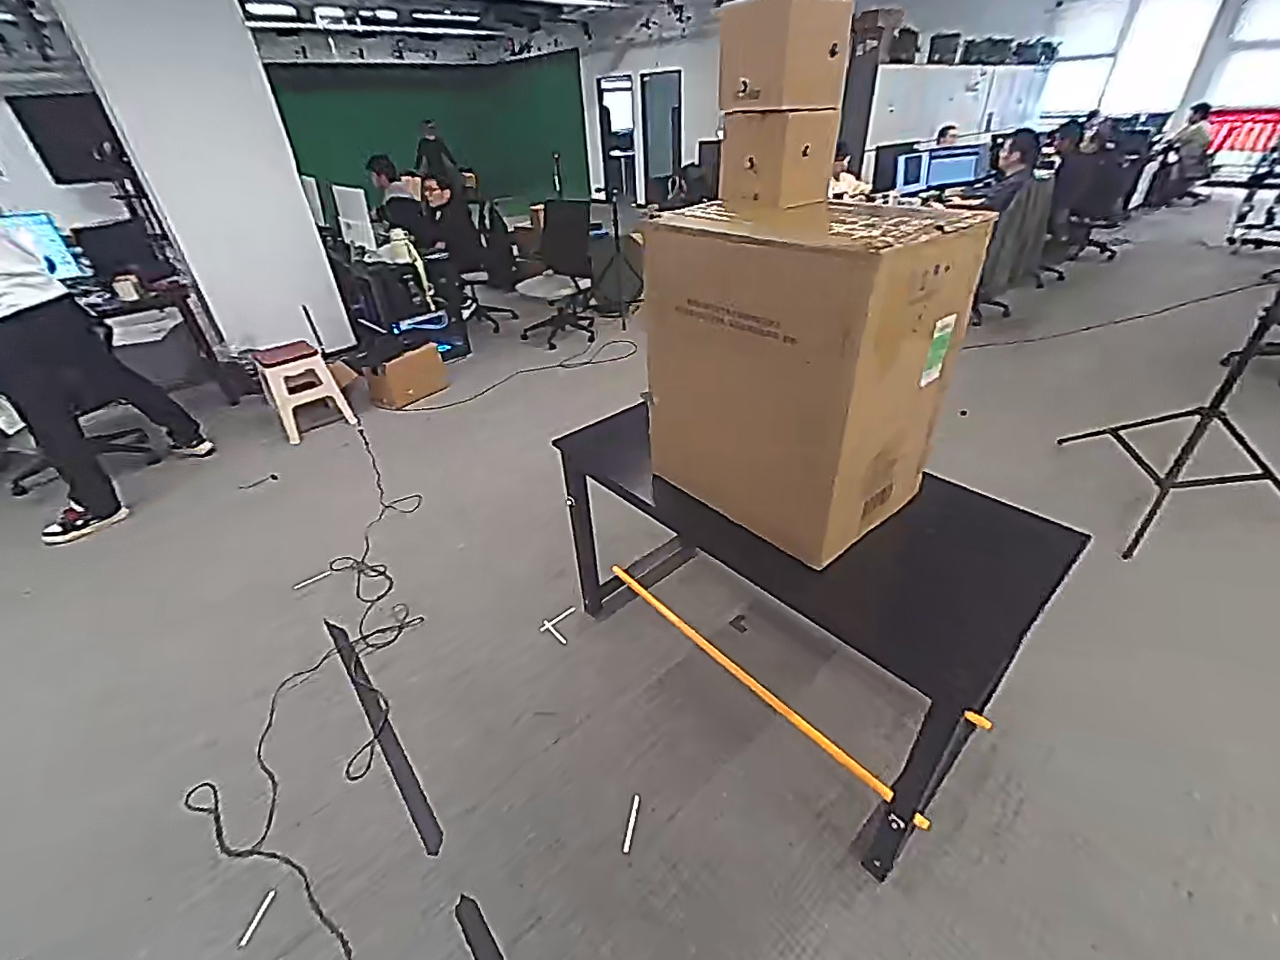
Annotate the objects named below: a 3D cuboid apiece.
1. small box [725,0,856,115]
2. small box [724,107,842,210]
[{"bbox_3d":[0.275,-0.797,1.024,0.179,0.176,0.168,-26,40,-30],"label":"small box"},{"bbox_3d":[0.291,-0.669,1.126,0.179,0.176,0.168,-27,42,-31],"label":"small box"}]
